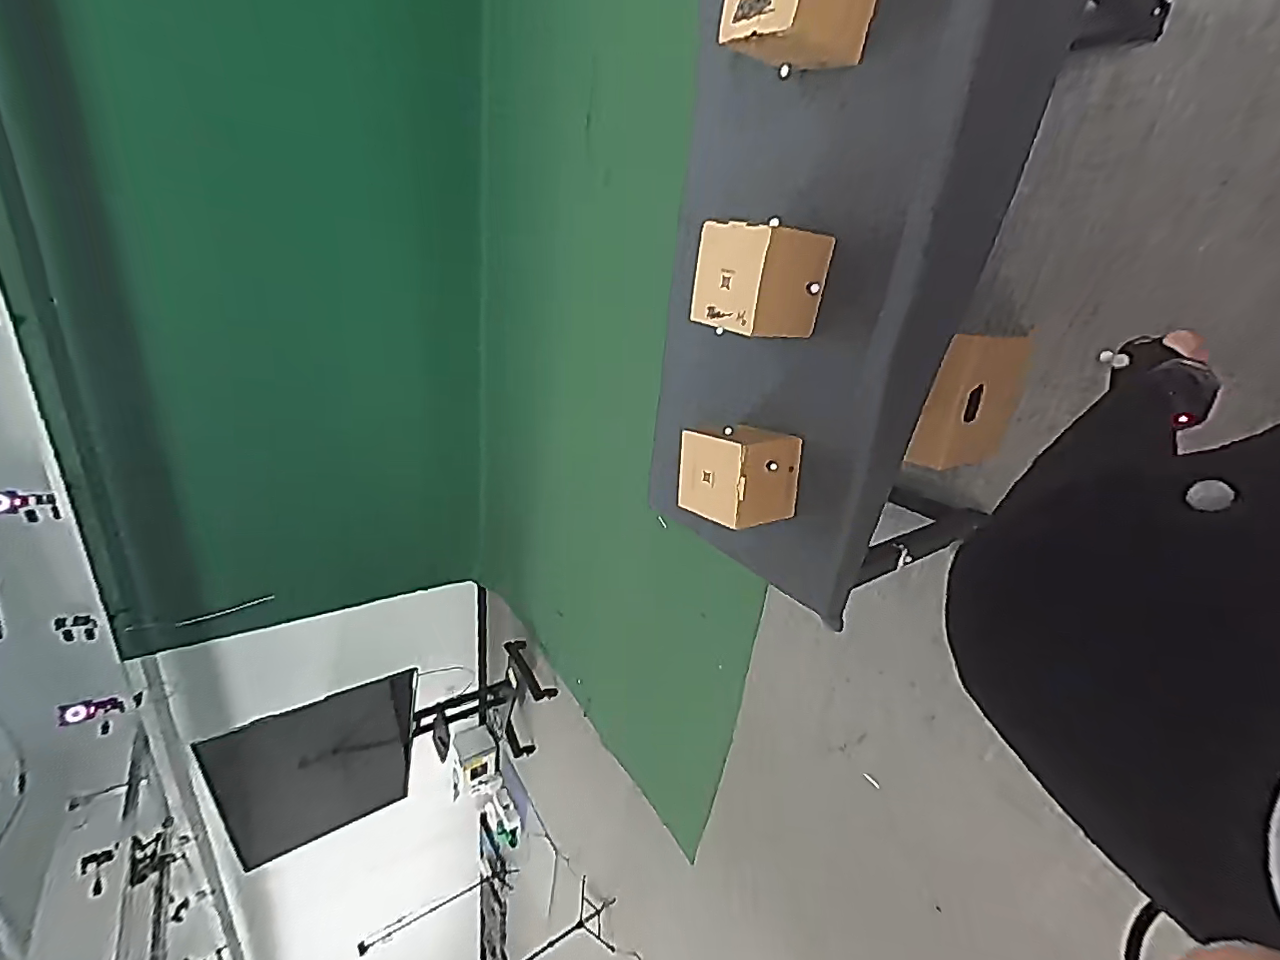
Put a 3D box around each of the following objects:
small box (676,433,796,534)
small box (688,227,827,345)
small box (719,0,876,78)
[{"bbox_3d":[0.195,-0.003,1.109,0.179,0.176,0.168,22,113,53],"label":"small box"},{"bbox_3d":[0.217,-0.355,1.000,0.168,0.176,0.179,35,124,46],"label":"small box"},{"bbox_3d":[0.256,-0.760,0.854,0.168,0.176,0.179,39,127,43],"label":"small box"}]
